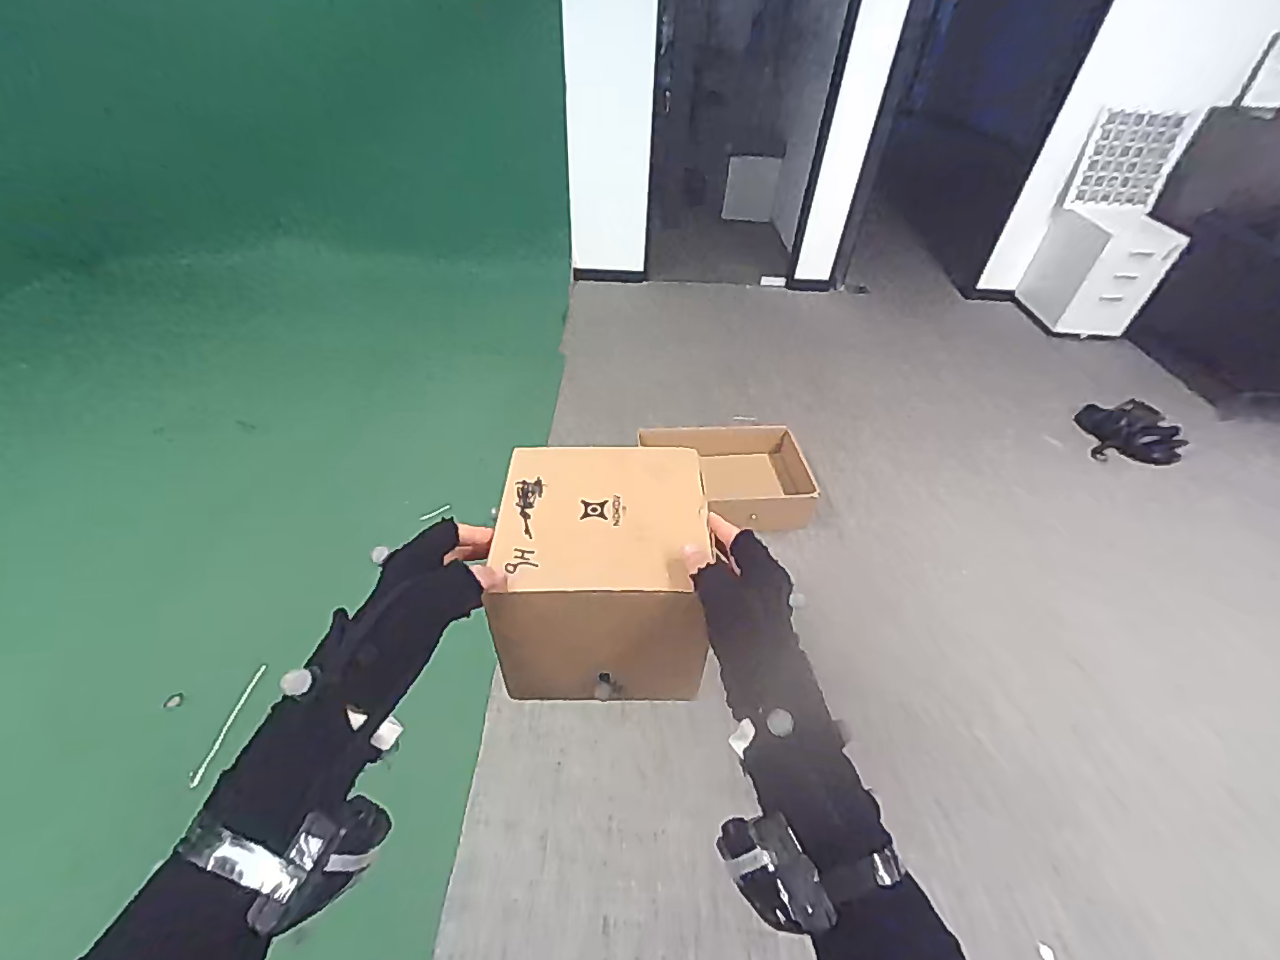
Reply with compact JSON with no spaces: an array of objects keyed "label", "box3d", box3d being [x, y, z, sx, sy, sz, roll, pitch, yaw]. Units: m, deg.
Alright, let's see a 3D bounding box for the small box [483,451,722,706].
[{"label":"small box","box3d":[-0.032,0.092,0.501,0.179,0.176,0.168,2,41,-3]}]
